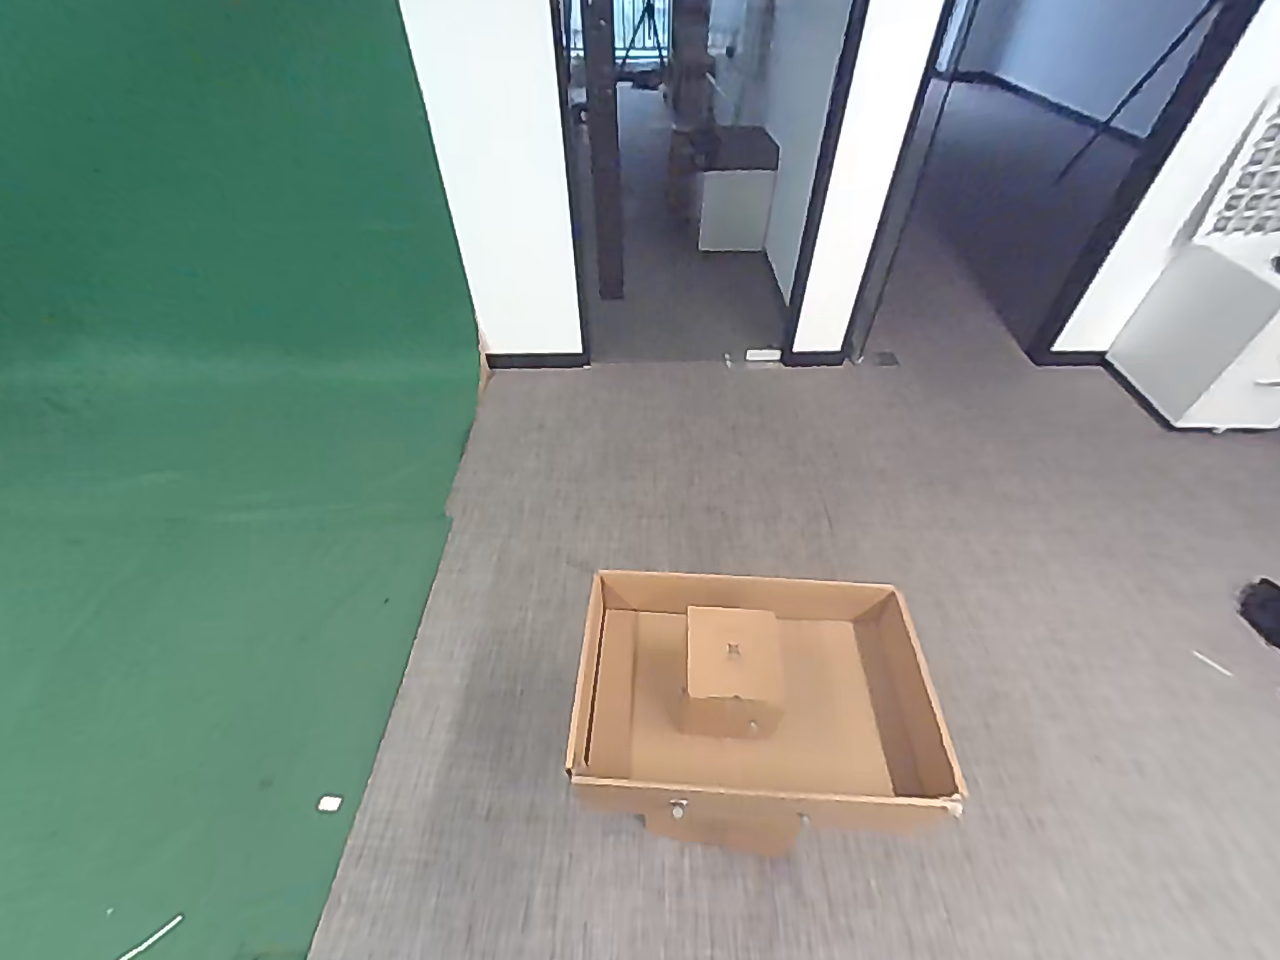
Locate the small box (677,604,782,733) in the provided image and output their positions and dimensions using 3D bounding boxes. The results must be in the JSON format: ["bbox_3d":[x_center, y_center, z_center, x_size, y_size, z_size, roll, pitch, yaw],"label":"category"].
[{"bbox_3d":[0.161,0.358,1.019,0.168,0.176,0.179,4,44,1],"label":"small box"}]
